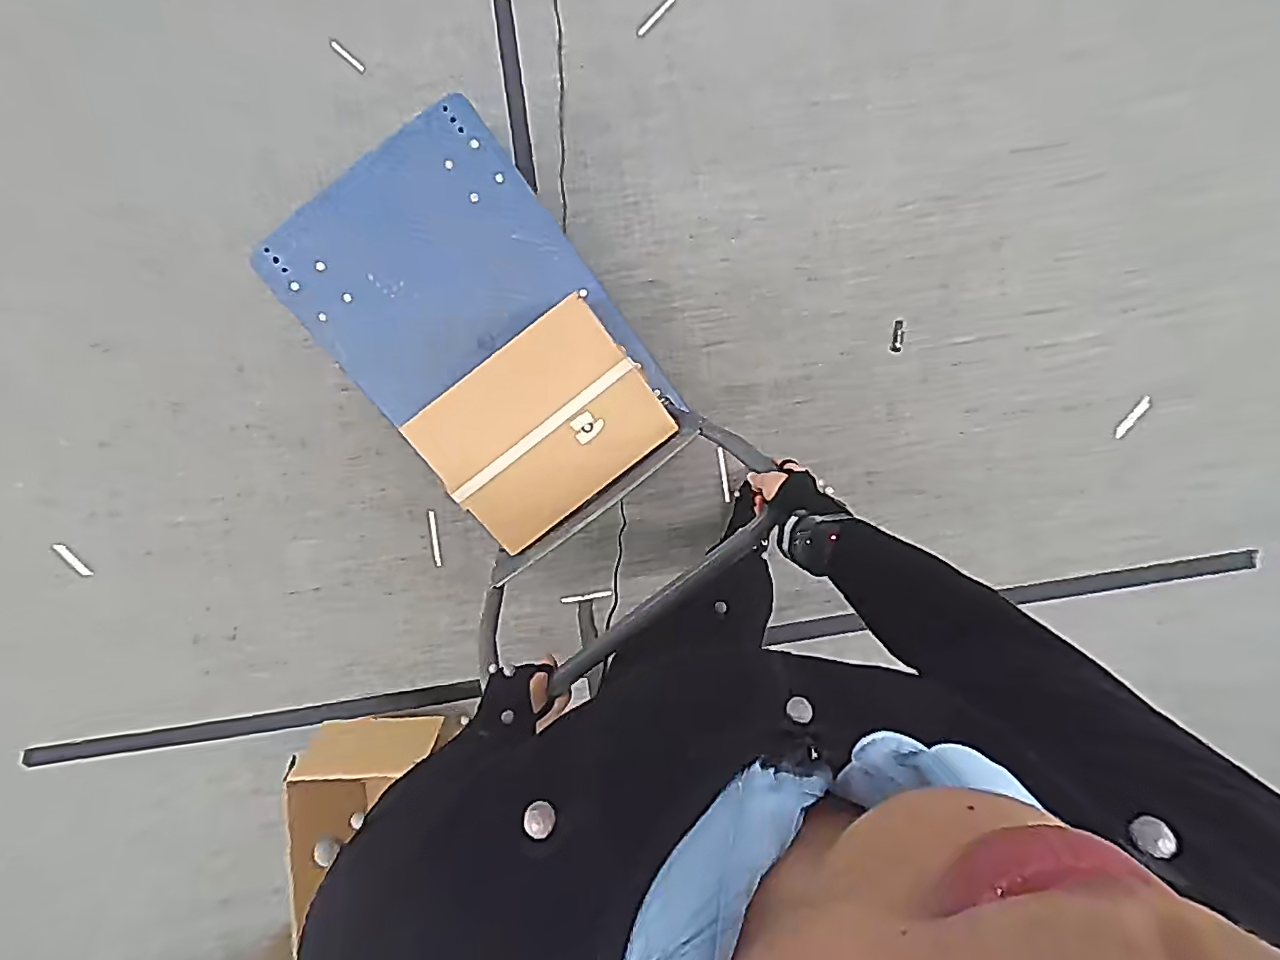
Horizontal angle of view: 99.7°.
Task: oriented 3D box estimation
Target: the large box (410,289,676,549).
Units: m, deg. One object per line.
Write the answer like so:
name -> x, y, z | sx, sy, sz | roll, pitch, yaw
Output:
large box -> -0.193, -0.130, 1.145 | 0.408, 0.320, 0.320 | -39, 104, 1
